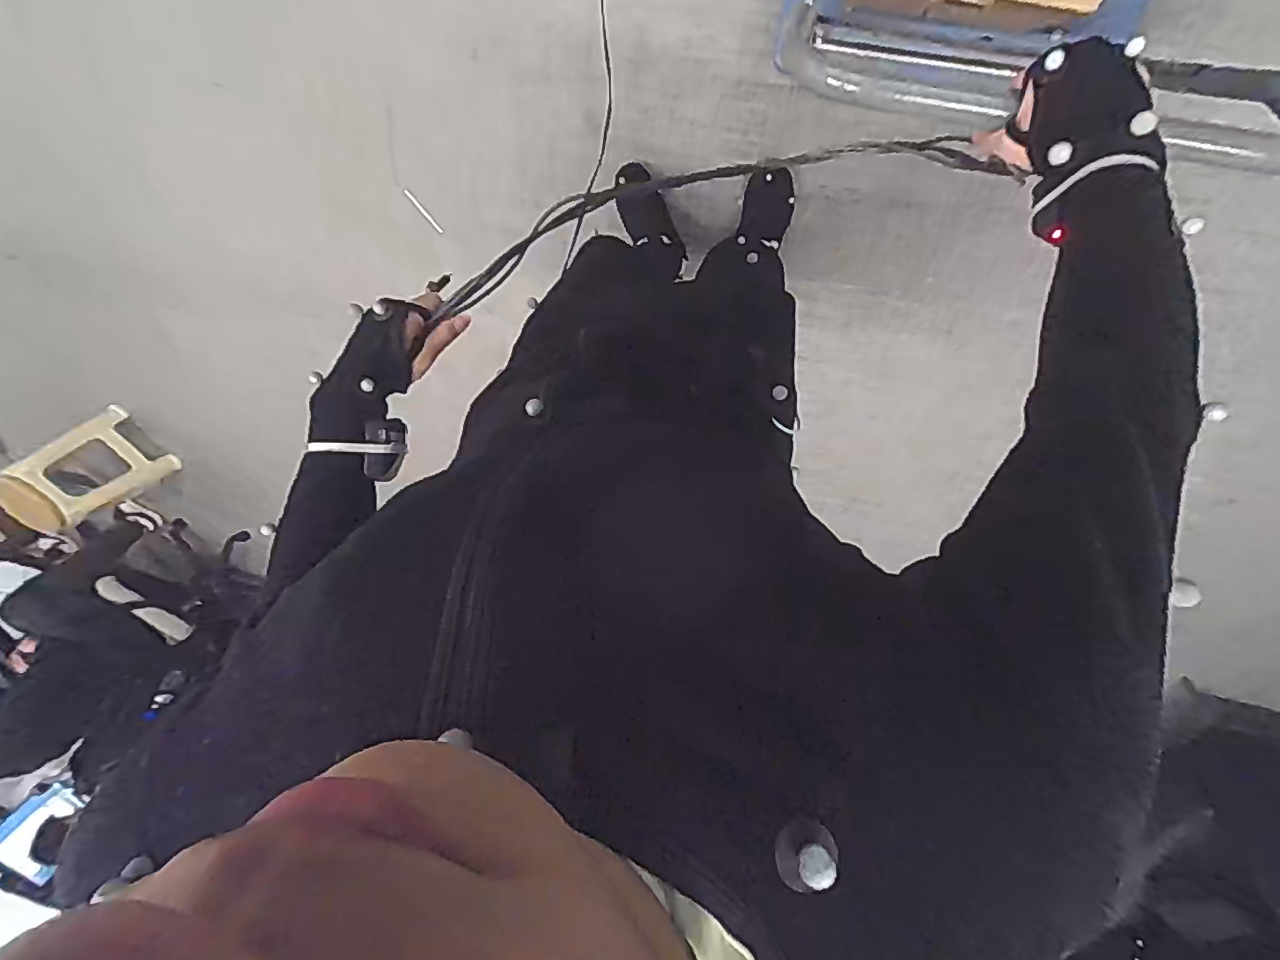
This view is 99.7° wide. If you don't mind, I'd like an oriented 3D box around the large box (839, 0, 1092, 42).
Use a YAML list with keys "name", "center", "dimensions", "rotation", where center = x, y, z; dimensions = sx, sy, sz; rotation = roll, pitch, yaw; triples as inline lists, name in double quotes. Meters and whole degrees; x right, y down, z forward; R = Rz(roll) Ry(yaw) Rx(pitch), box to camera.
- name: "large box"
  center: [0.488, -0.866, 0.715]
  dimensions: [0.320, 0.320, 0.408]
  rotation: [16, 127, 5]
